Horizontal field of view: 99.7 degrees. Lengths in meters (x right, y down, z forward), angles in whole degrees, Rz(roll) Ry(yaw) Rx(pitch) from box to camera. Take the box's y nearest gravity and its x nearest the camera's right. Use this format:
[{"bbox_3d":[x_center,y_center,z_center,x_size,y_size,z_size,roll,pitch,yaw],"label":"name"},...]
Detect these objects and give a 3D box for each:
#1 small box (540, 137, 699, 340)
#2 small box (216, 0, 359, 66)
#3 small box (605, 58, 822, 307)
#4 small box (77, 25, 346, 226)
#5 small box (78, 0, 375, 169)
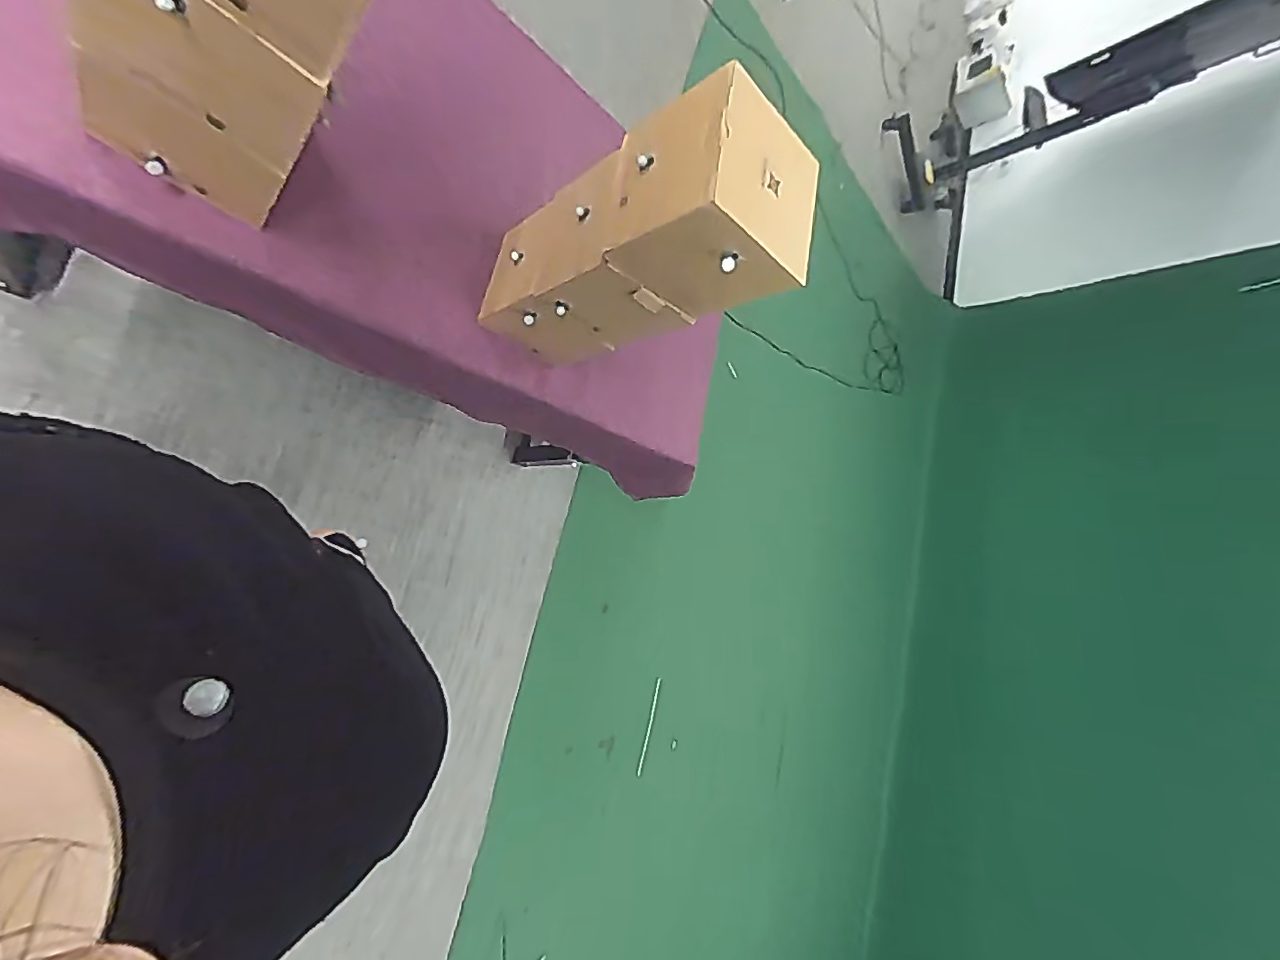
[{"bbox_3d":[-0.021,-0.319,0.760,0.168,0.176,0.179,20,75,-41],"label":"small box"},{"bbox_3d":[-0.237,-0.429,0.339,0.168,0.176,0.179,24,74,-39],"label":"small box"},{"bbox_3d":[0.087,-0.323,0.638,0.179,0.176,0.168,18,77,-40],"label":"small box"},{"bbox_3d":[-0.455,-0.420,0.586,0.168,0.176,0.179,27,73,-39],"label":"small box"},{"bbox_3d":[-0.344,-0.421,0.464,0.168,0.176,0.179,26,71,-38],"label":"small box"}]
